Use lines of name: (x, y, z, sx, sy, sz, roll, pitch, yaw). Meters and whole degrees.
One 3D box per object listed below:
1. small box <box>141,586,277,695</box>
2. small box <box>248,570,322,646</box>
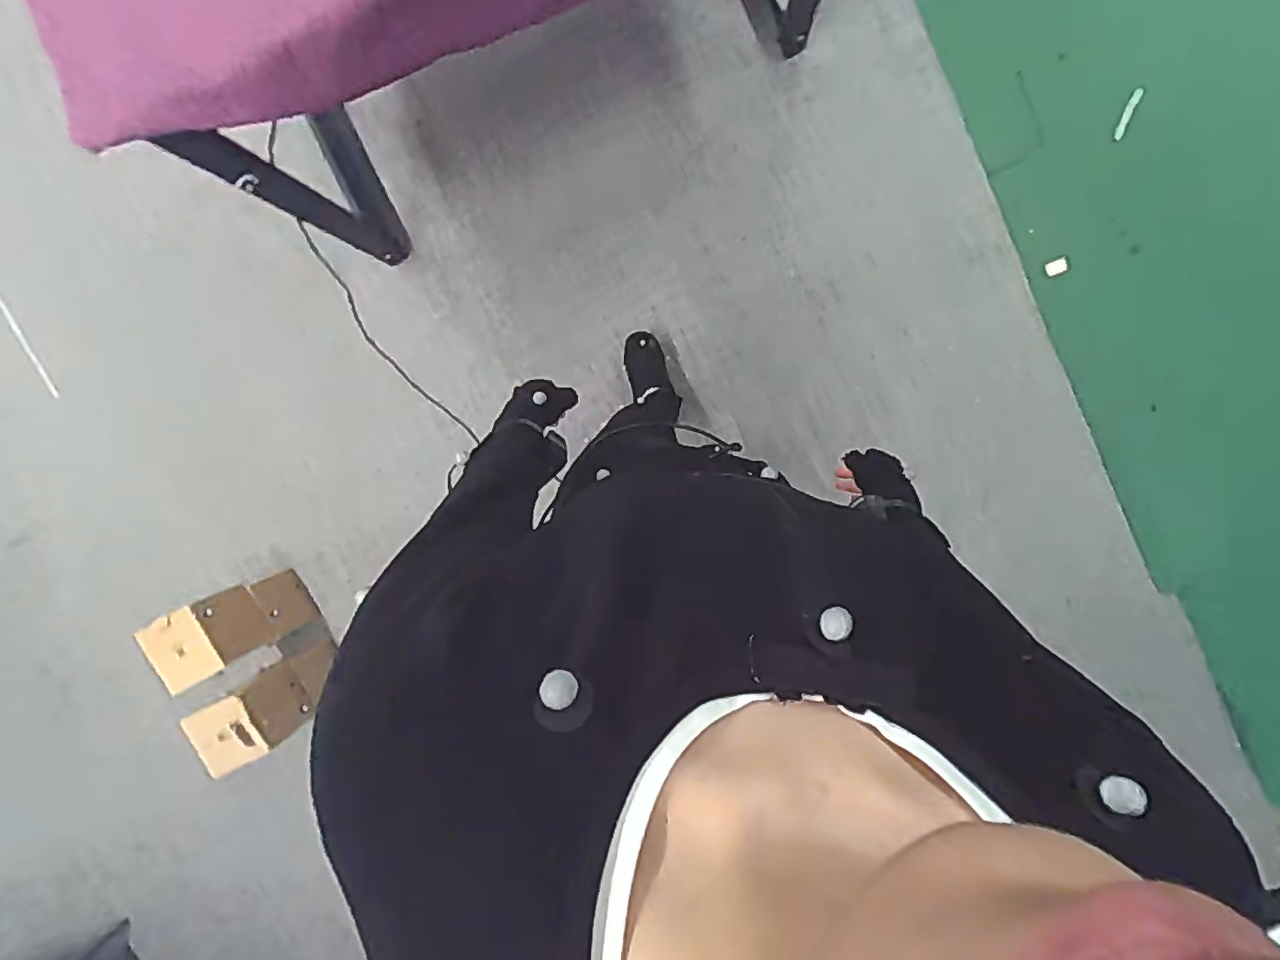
small box: (-1.065, 0.395, 1.355, 0.168, 0.176, 0.179, -28, 94, 7)
small box: (-1.047, 0.378, 1.516, 0.179, 0.176, 0.168, -27, 95, 8)
